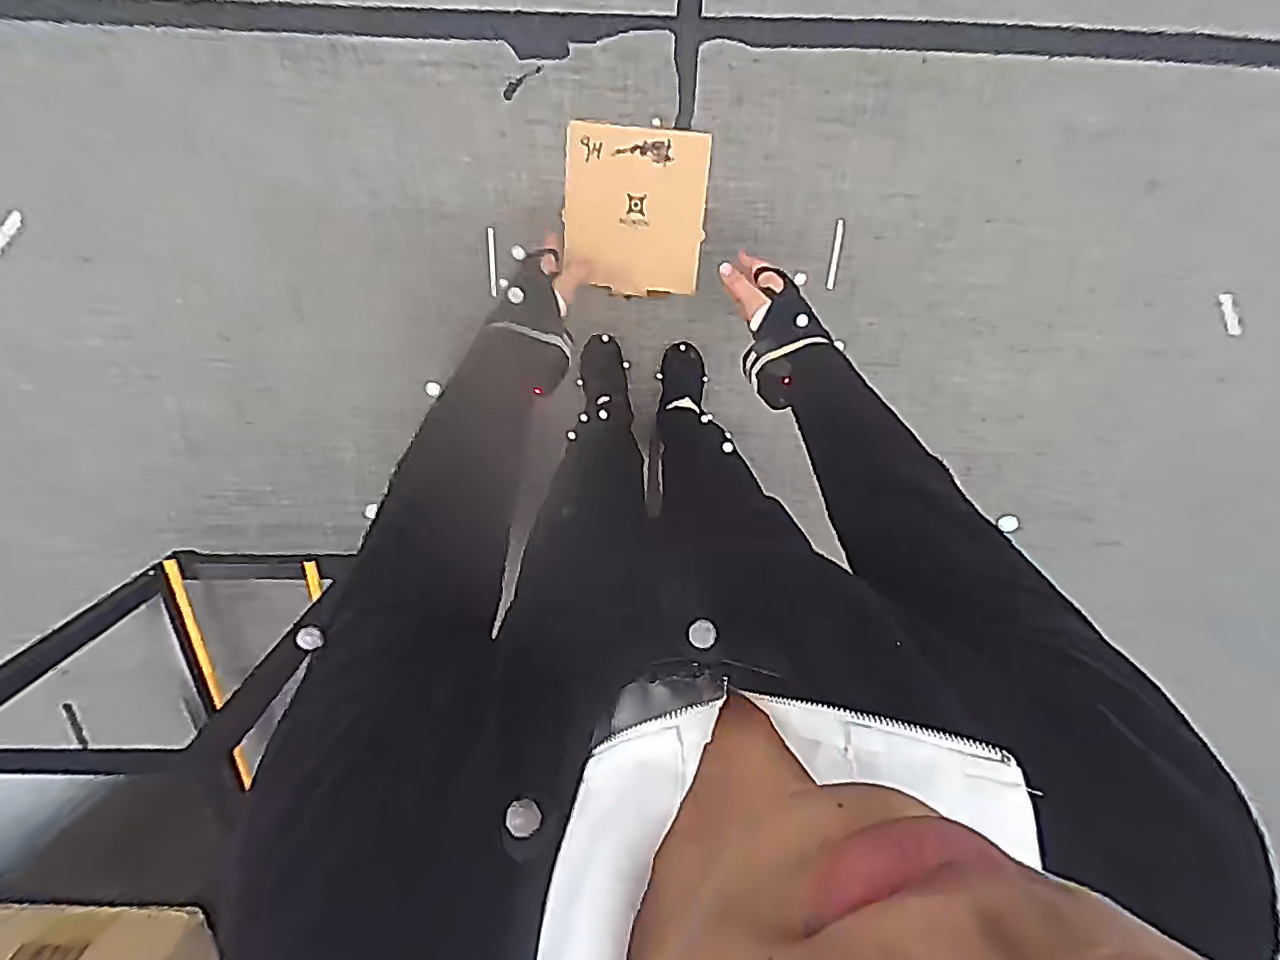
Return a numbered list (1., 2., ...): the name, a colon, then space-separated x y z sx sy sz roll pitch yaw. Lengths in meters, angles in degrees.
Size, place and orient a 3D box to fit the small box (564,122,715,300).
1. small box: -0.004 -0.340 0.703 0.168 0.176 0.179 4 113 -3
